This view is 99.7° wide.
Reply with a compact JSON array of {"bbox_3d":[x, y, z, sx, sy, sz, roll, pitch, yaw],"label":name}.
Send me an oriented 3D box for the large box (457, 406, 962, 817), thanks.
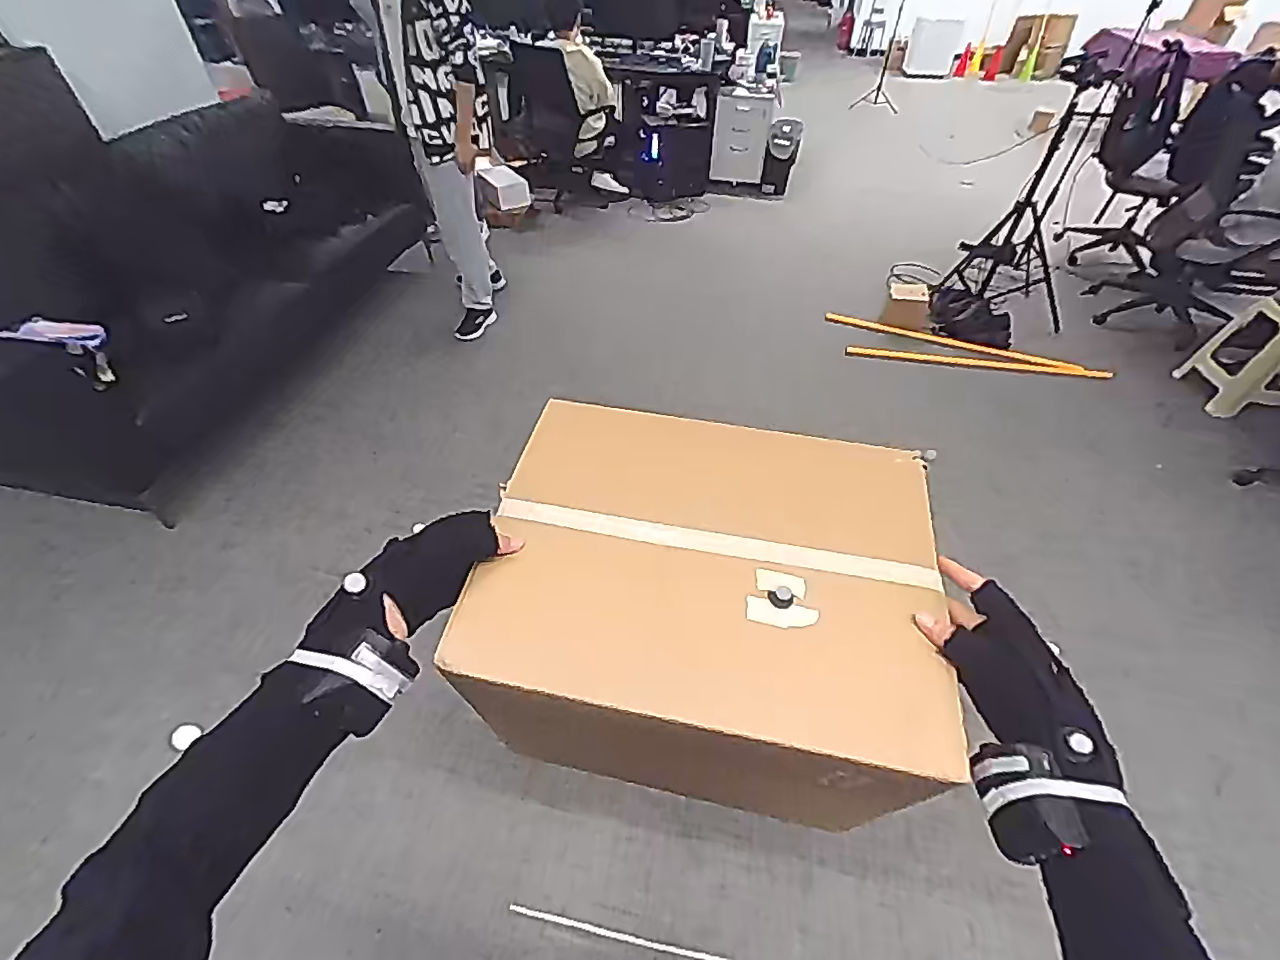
[{"bbox_3d":[0.068,0.153,0.623,0.408,0.320,0.320,10,53,7],"label":"large box"}]
